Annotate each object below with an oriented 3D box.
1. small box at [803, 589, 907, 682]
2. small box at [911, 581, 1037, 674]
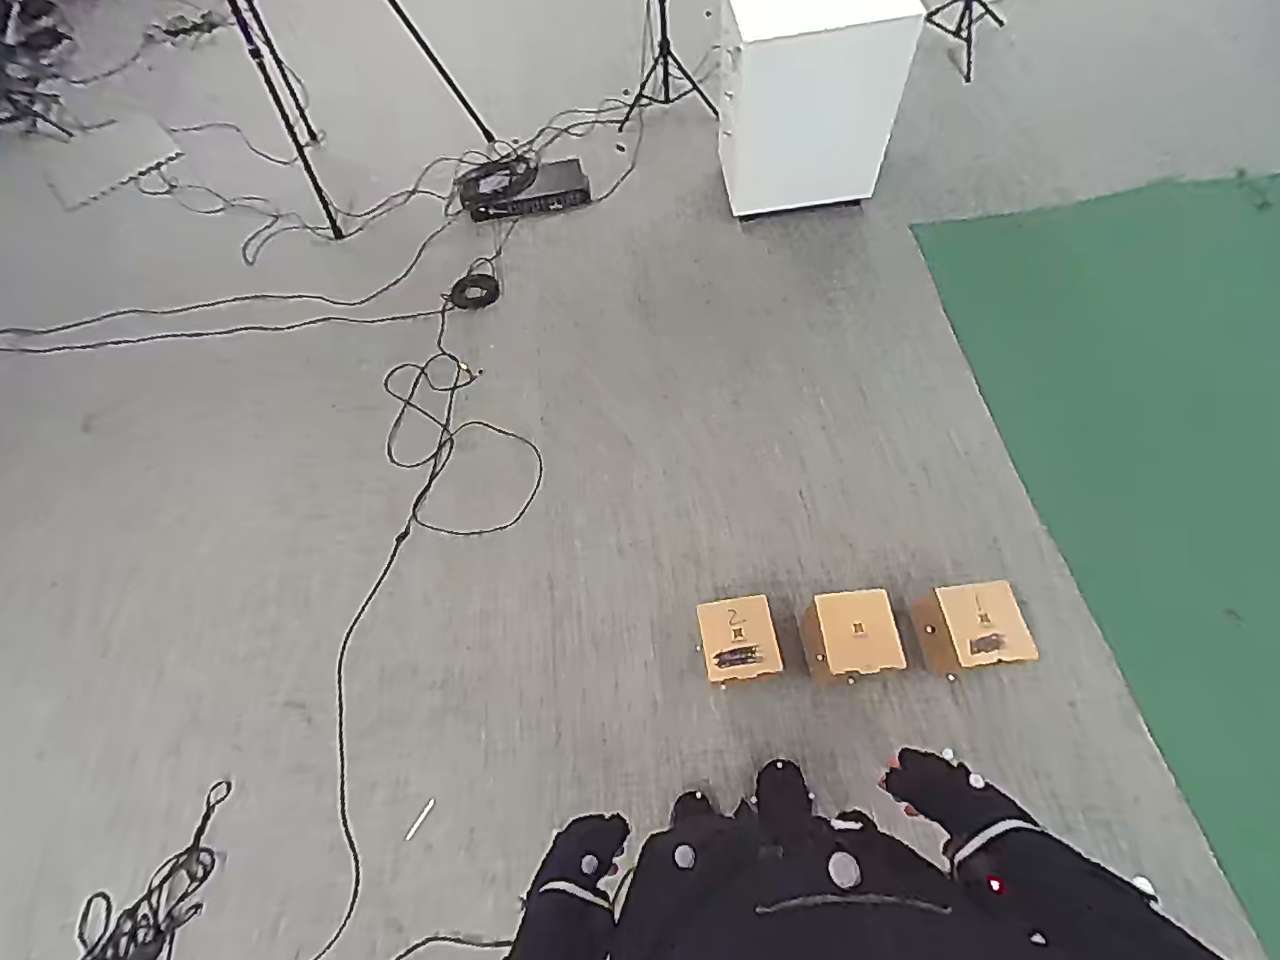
[{"bbox_3d":[0.495,0.370,1.273,0.168,0.176,0.179,-6,63,3],"label":"small box"},{"bbox_3d":[0.763,0.349,1.255,0.168,0.176,0.179,-7,62,2],"label":"small box"}]
